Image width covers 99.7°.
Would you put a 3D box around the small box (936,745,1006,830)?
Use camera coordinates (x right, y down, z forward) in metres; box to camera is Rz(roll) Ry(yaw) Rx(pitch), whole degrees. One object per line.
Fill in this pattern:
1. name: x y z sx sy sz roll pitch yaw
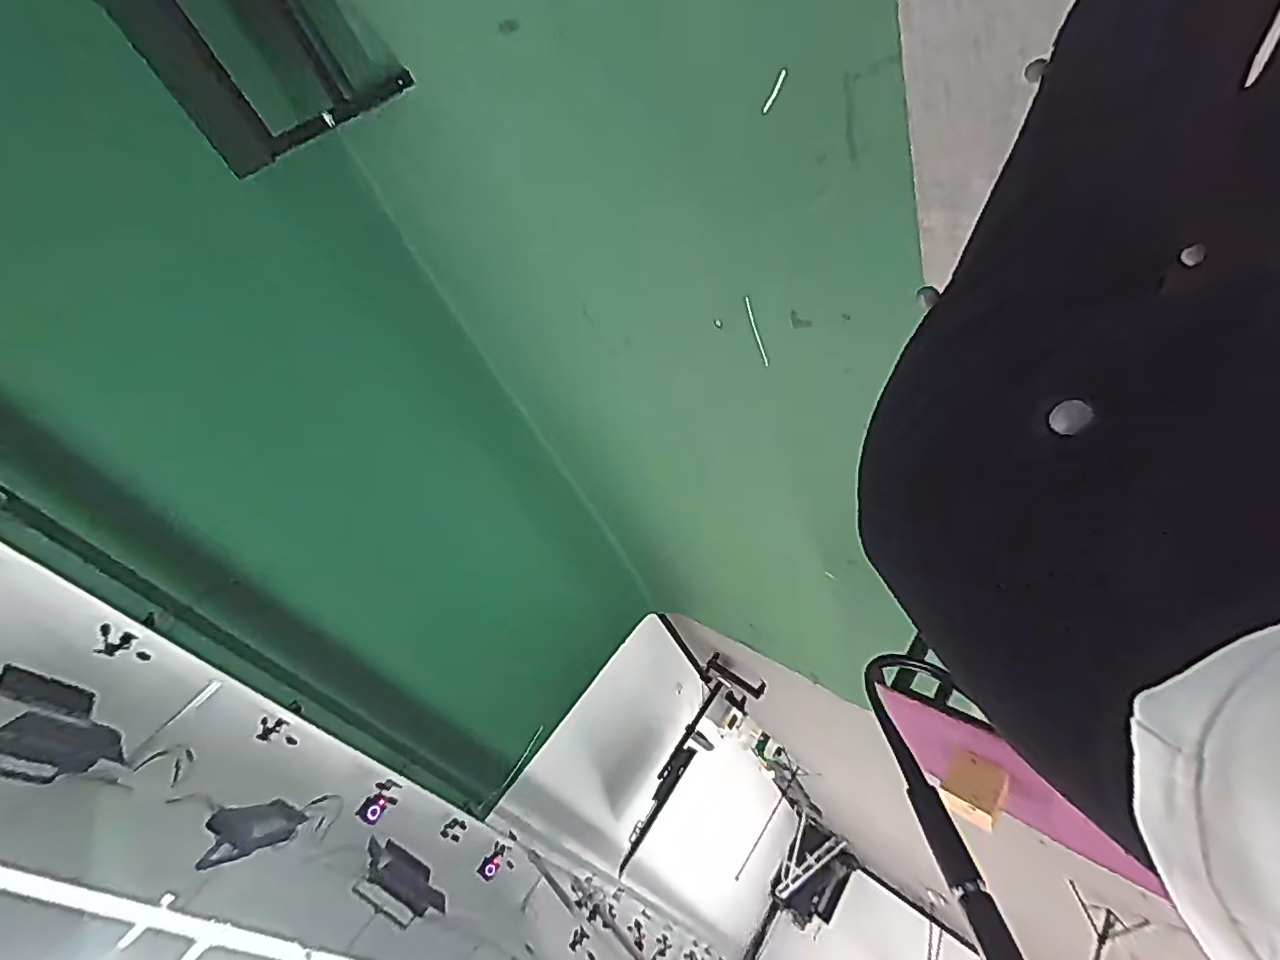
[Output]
1. small box: 1.153 1.066 1.881 0.168 0.176 0.179 16 146 43
